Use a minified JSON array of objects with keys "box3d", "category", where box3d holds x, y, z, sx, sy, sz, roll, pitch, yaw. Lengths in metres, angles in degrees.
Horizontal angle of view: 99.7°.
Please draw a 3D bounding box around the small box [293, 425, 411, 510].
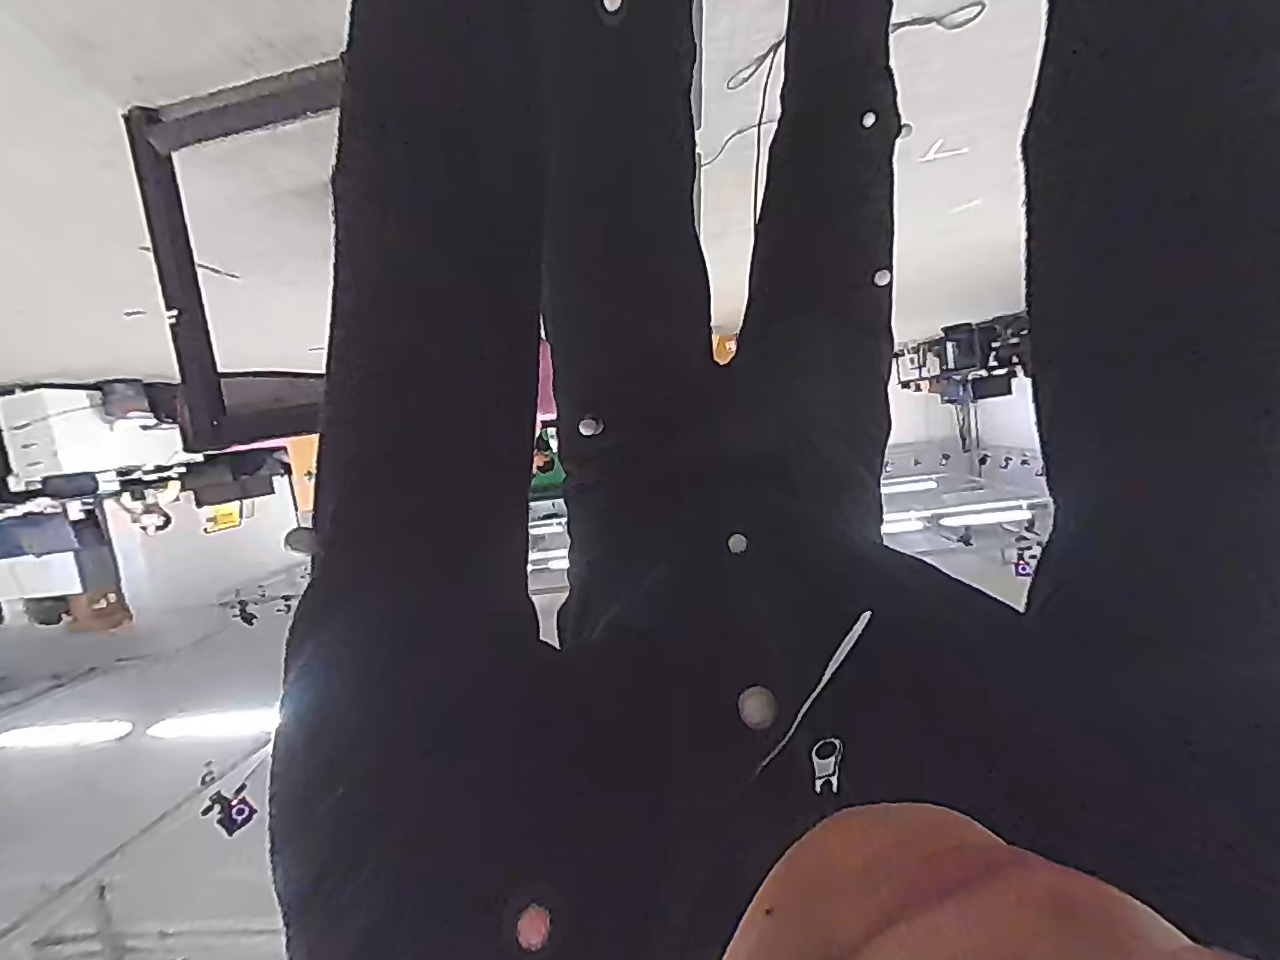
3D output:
[{"box3d":[-0.666,-0.035,1.250,0.179,0.176,0.168,-6,-172,12],"category":"small box"}]
